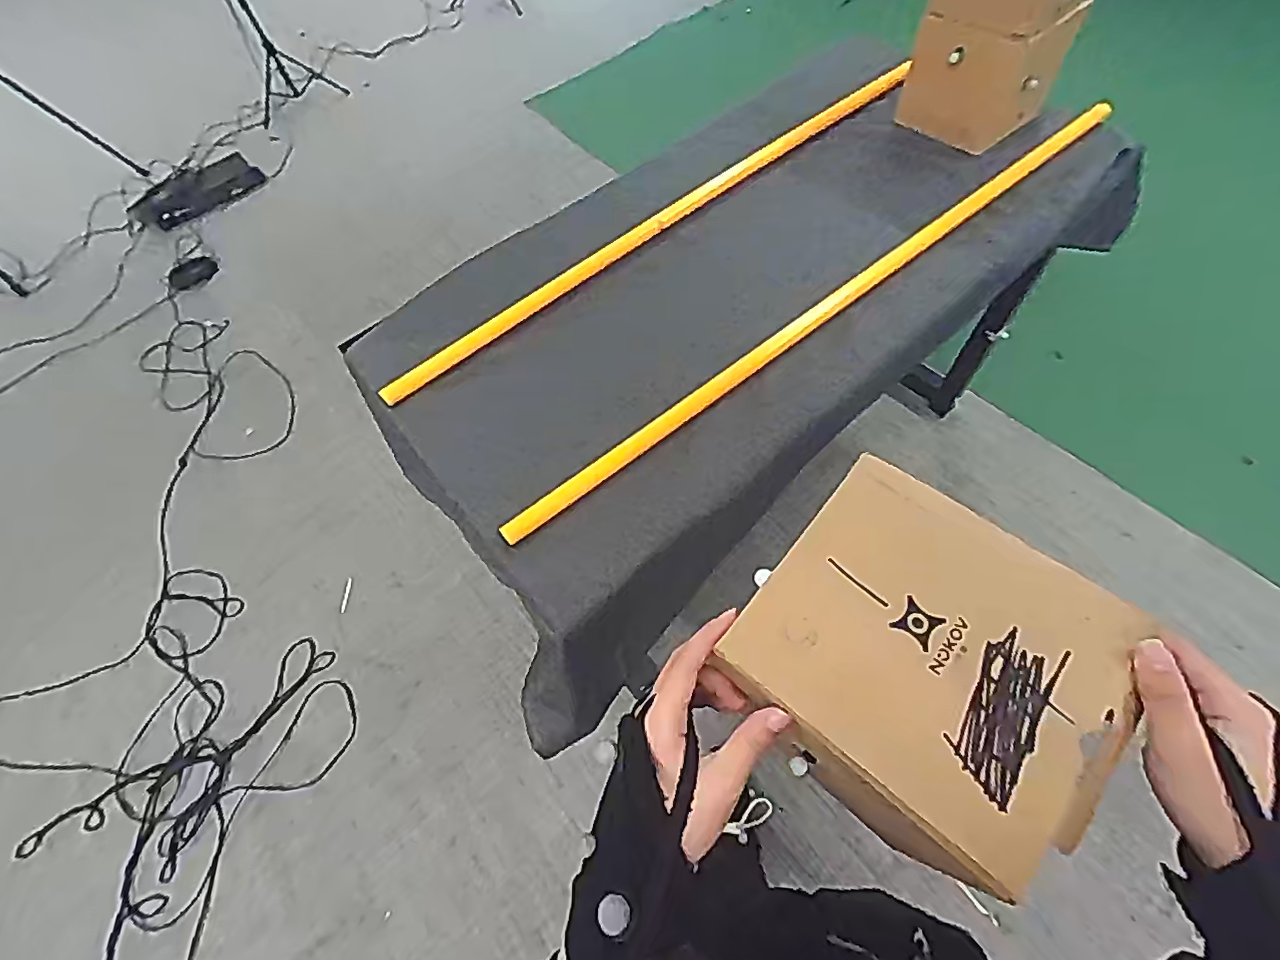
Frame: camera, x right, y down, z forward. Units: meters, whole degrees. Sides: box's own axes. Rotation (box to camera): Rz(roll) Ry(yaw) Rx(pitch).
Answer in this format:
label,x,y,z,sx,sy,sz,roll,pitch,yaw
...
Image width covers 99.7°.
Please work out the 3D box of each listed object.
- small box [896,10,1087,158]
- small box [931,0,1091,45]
label,x,y,z,sx,sy,sz,roll,pitch,yaw
small box,0.571,-0.676,0.905,0.168,0.176,0.179,-37,62,-13
small box,0.555,-0.760,0.767,0.168,0.176,0.179,-40,63,-13
